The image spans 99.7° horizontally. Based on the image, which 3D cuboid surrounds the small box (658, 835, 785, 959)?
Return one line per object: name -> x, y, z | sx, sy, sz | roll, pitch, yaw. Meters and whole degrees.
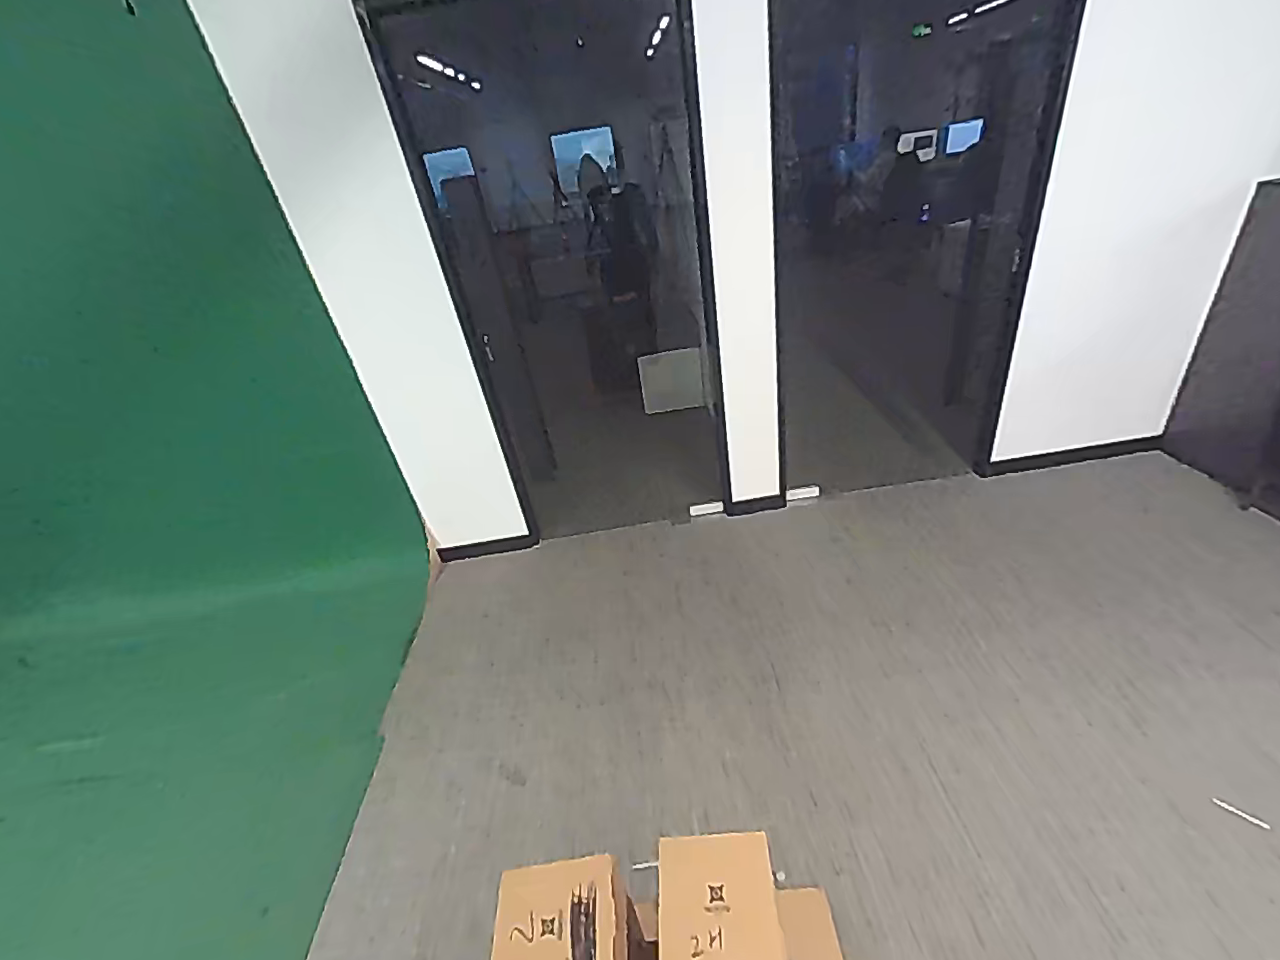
small box -> 0.121, 0.657, 0.790 | 0.168, 0.176, 0.179 | -9, 31, 7
